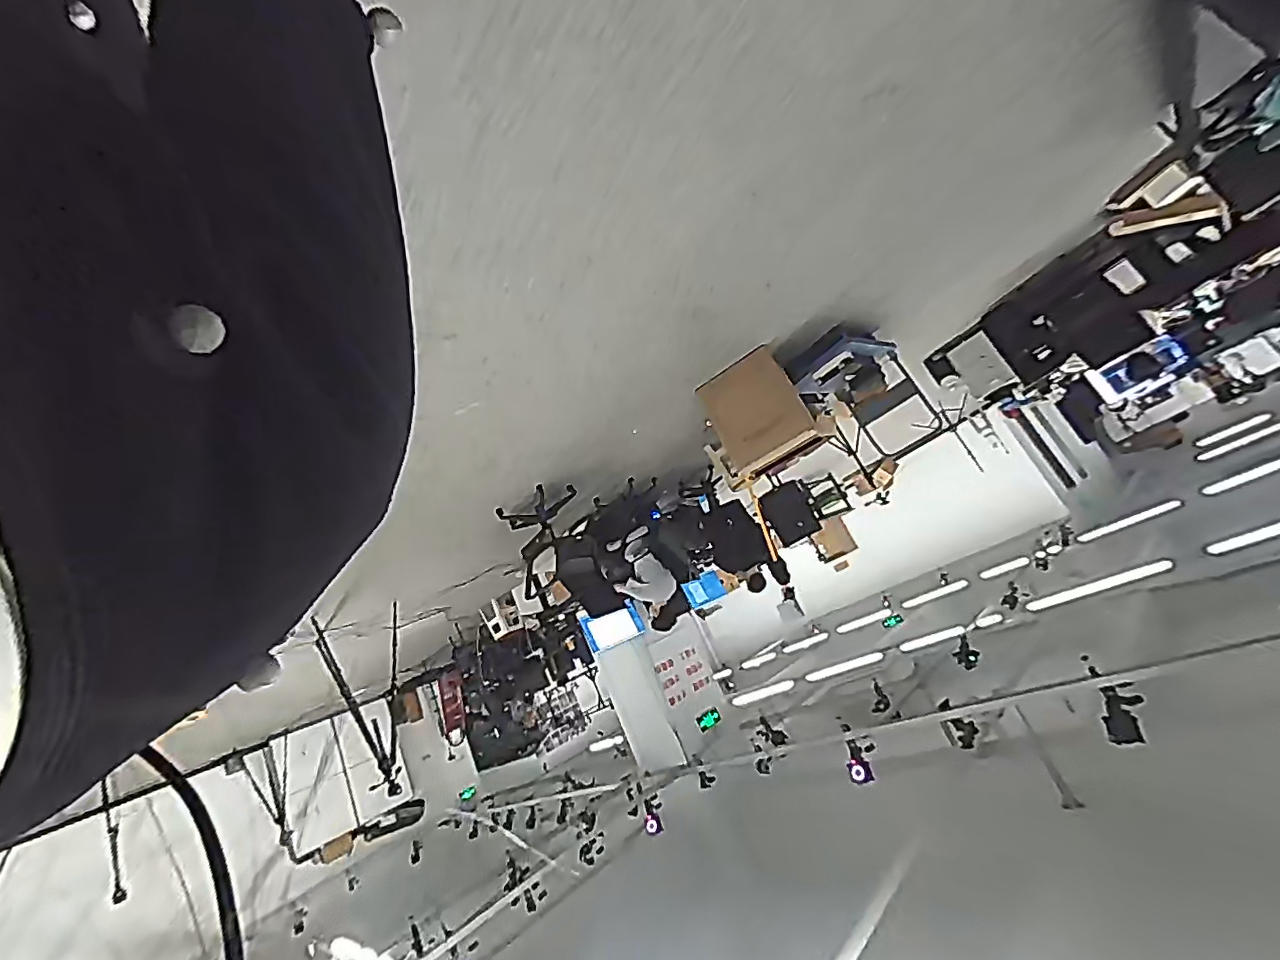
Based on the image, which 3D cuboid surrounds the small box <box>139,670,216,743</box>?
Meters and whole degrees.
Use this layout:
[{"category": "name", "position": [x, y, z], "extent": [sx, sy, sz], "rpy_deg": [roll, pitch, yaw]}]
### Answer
[{"category": "small box", "position": [-1.583, 0.772, 1.855], "extent": [0.179, 0.176, 0.168], "rpy_deg": [-11, 157, -40]}]
